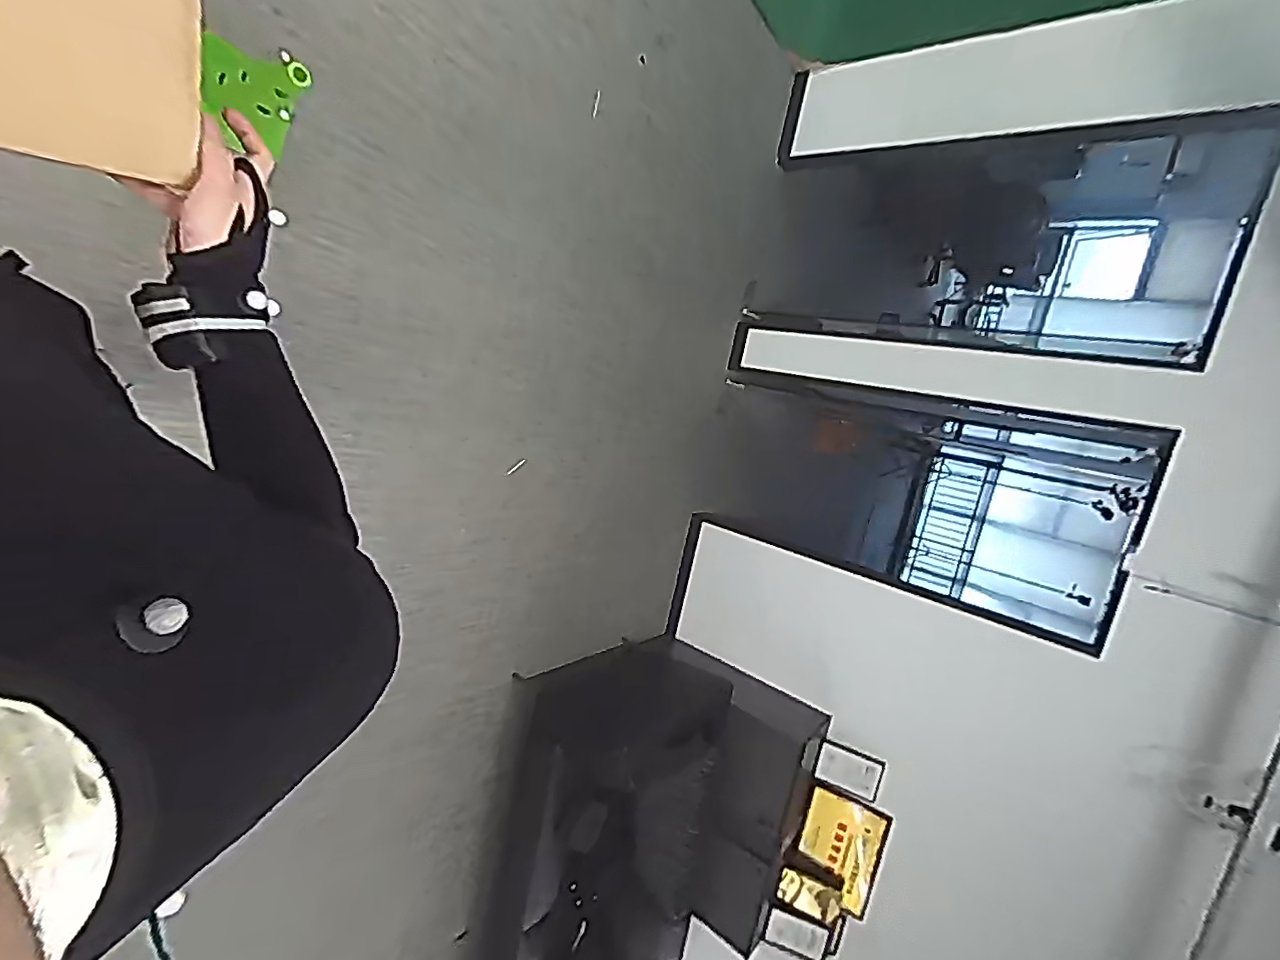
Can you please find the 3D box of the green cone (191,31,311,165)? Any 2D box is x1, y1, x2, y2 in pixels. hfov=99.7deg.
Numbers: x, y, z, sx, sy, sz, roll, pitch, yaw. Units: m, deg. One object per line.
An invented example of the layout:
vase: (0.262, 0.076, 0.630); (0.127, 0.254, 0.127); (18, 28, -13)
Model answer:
green cone: (-0.795, -0.832, 1.148); (0.200, 0.368, 0.202); (12, 93, -55)
